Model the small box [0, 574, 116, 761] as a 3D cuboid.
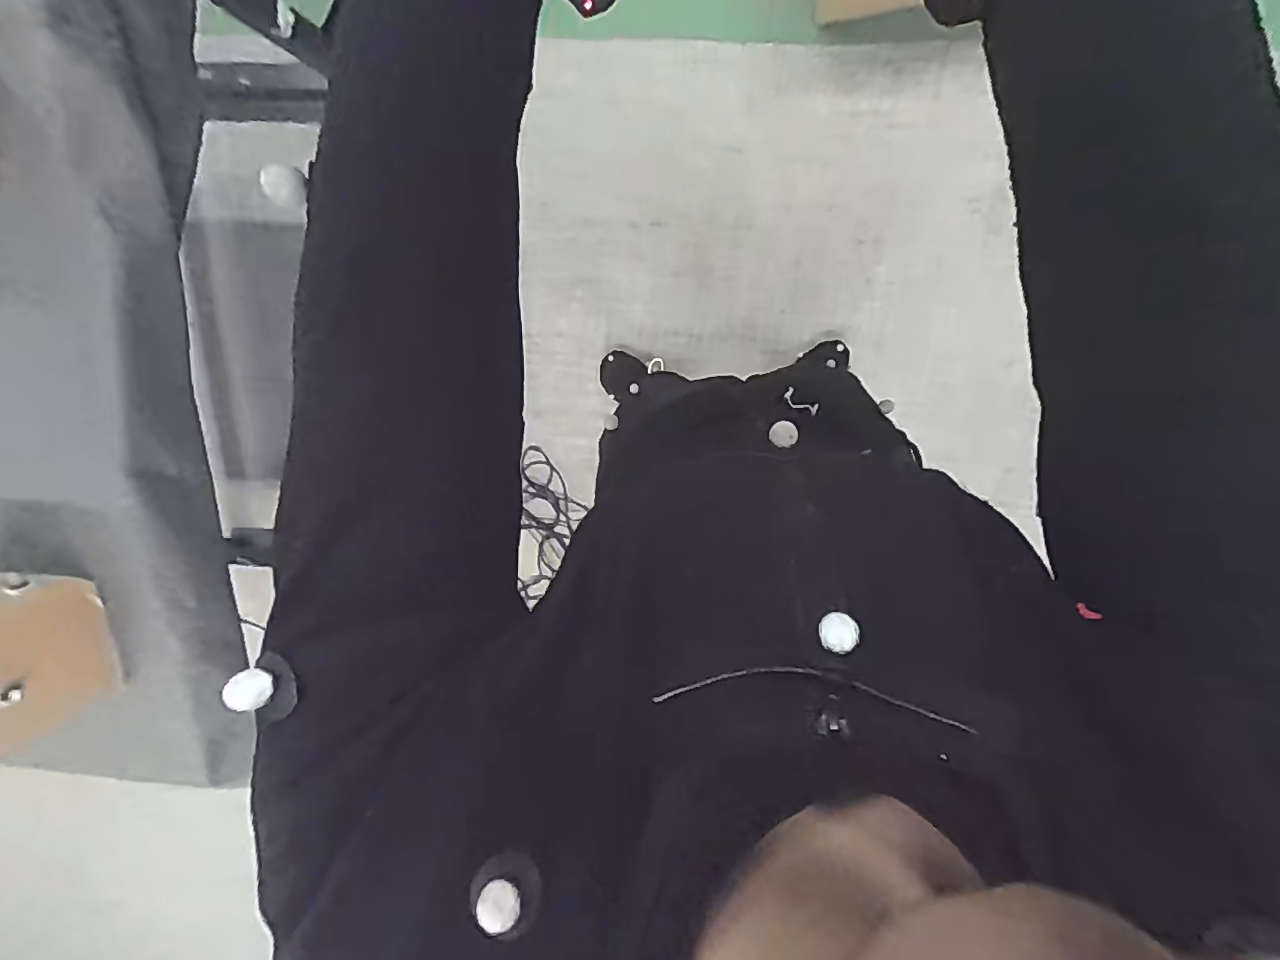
[{"bbox_3d":[-0.828,0.238,0.683,0.168,0.176,0.179,2,105,3],"label":"small box"}]
